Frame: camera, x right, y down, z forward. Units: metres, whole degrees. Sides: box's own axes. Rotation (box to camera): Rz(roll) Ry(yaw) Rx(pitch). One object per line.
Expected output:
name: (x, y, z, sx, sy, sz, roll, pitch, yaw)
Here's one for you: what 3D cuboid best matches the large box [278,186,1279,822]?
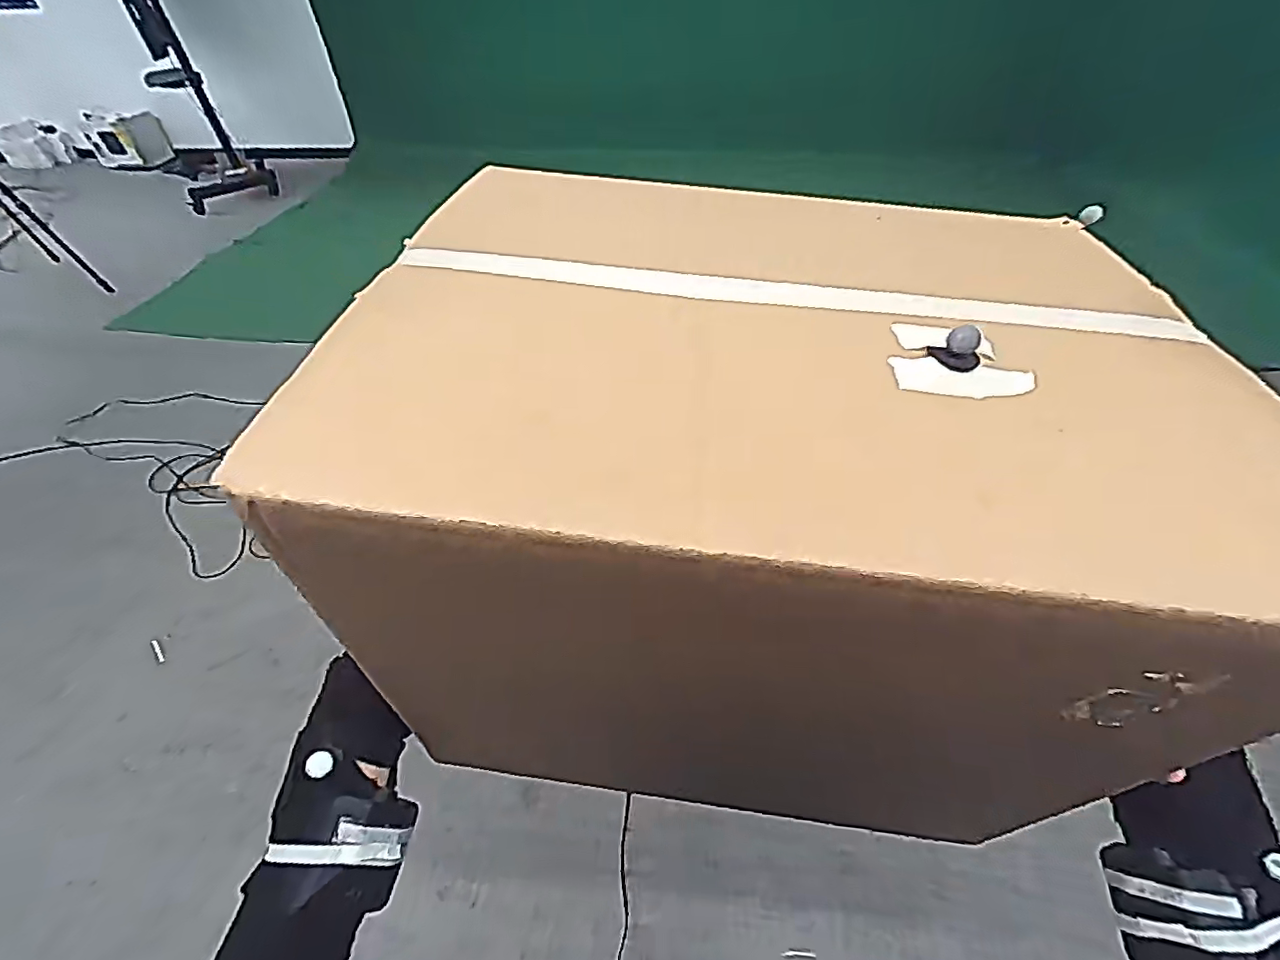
large box: (0.071, 0.018, 0.395, 0.408, 0.320, 0.320, 7, 48, 3)
